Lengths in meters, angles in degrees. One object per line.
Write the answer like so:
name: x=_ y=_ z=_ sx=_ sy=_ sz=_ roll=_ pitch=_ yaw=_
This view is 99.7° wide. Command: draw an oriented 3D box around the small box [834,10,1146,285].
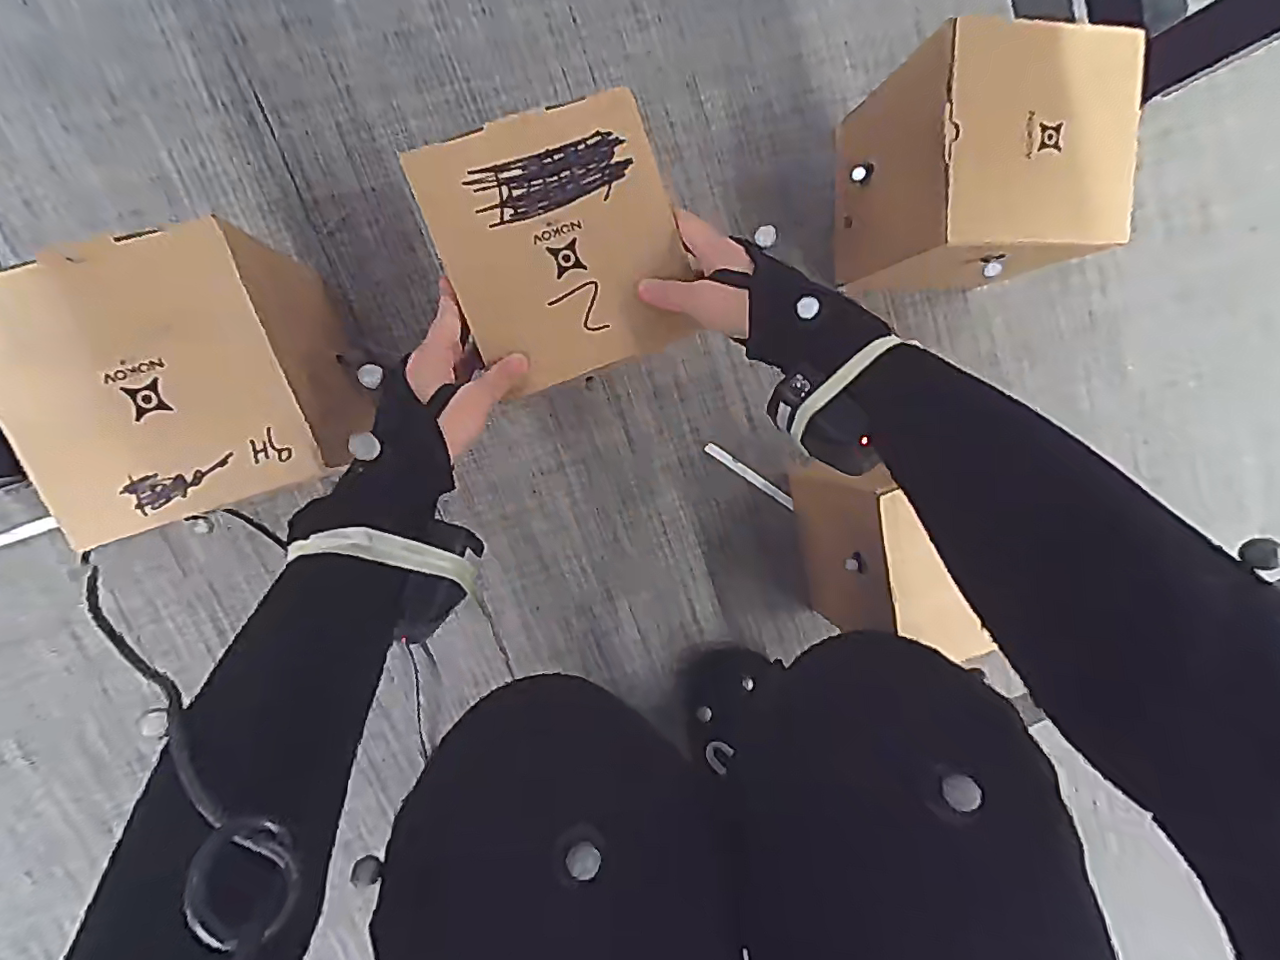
small box: x=0.307 y=-0.286 z=0.506 sx=0.179 sy=0.176 sz=0.168 roll=-4 pitch=98 yaw=-9

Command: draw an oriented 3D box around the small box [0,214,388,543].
small box: x=-0.326 y=-0.071 z=0.422 sx=0.168 sy=0.176 sz=0.179 roll=-19 pitch=99 yaw=-7
